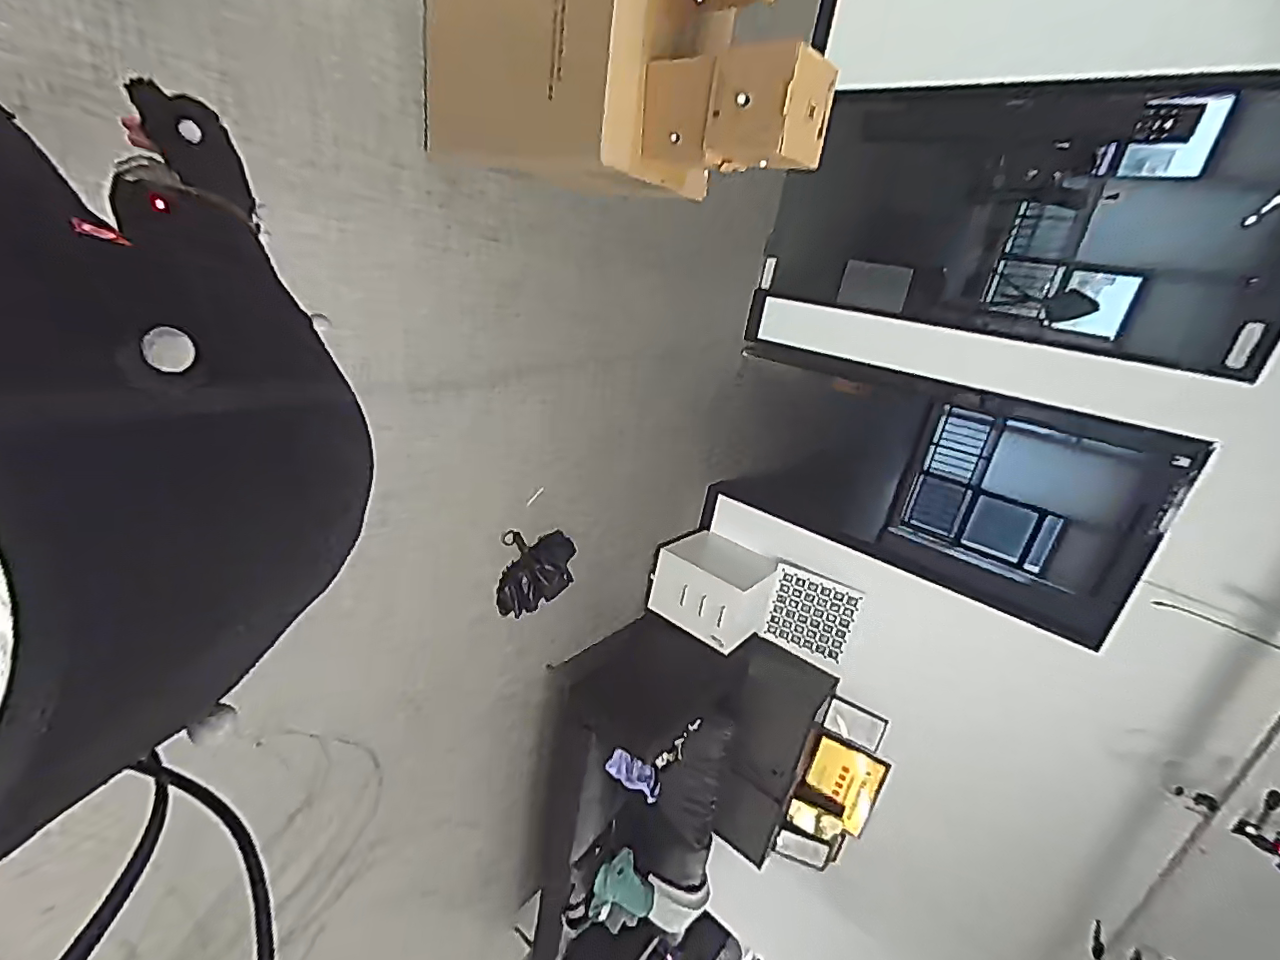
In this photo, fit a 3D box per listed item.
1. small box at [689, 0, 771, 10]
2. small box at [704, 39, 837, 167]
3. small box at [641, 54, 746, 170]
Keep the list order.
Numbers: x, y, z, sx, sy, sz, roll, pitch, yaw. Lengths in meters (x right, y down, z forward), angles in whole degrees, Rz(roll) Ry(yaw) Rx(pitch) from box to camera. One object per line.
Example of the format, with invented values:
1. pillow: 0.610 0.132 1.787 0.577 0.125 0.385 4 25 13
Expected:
1. small box: 0.159 -1.025 1.004 0.168 0.176 0.179 -12 121 -49
2. small box: 0.242 -0.704 1.028 0.179 0.176 0.168 -22 128 -46
3. small box: 0.117 -0.752 1.122 0.168 0.176 0.179 -27 130 -44
